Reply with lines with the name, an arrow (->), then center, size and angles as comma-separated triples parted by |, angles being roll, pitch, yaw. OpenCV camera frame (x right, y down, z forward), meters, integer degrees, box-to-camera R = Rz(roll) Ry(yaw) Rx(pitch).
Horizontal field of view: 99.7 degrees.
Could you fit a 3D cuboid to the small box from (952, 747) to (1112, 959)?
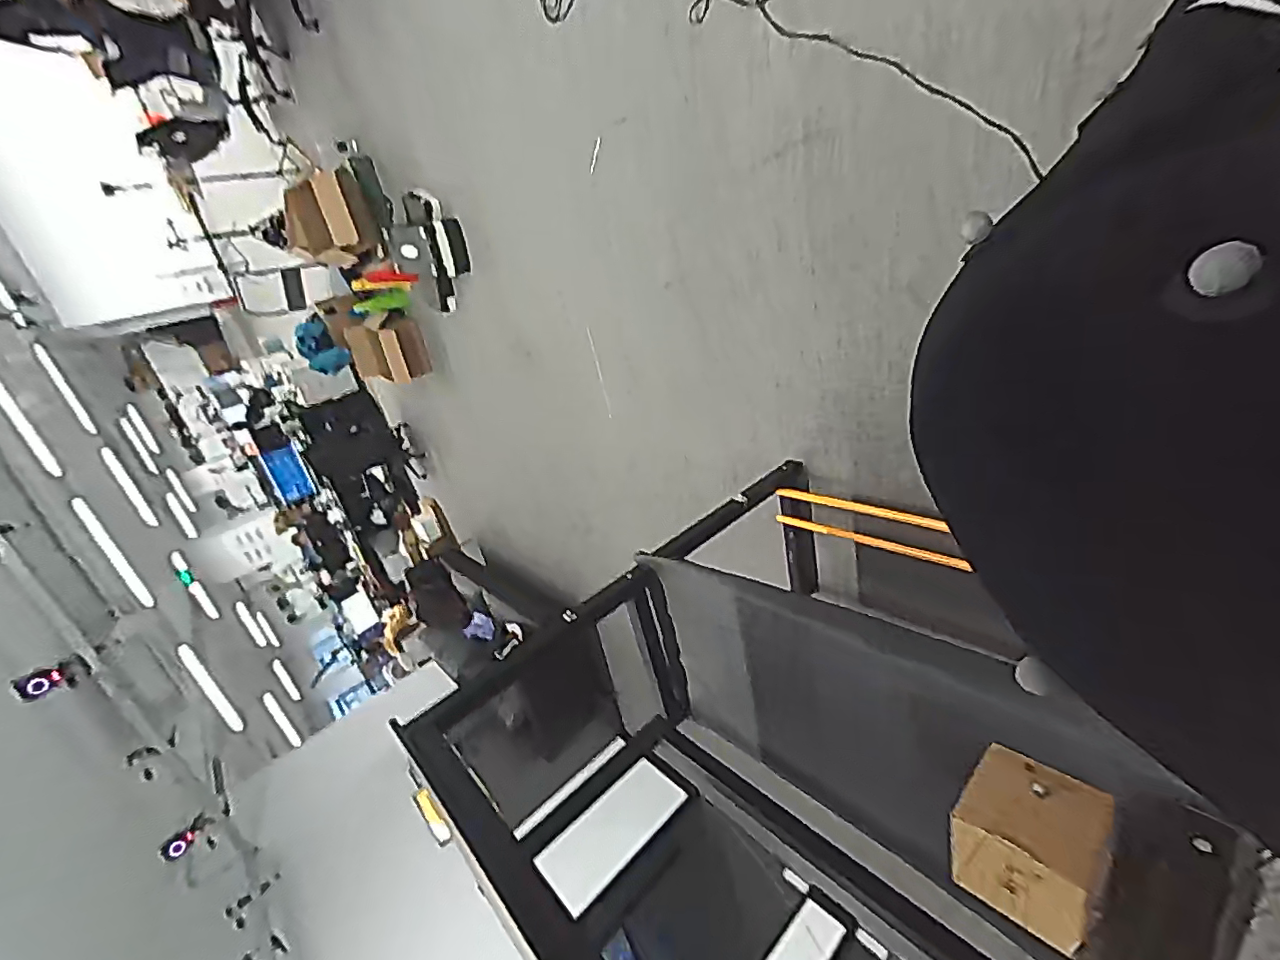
small box -> 0.612, 0.570, 0.849 | 0.168, 0.176, 0.179 | 12, 124, 48
